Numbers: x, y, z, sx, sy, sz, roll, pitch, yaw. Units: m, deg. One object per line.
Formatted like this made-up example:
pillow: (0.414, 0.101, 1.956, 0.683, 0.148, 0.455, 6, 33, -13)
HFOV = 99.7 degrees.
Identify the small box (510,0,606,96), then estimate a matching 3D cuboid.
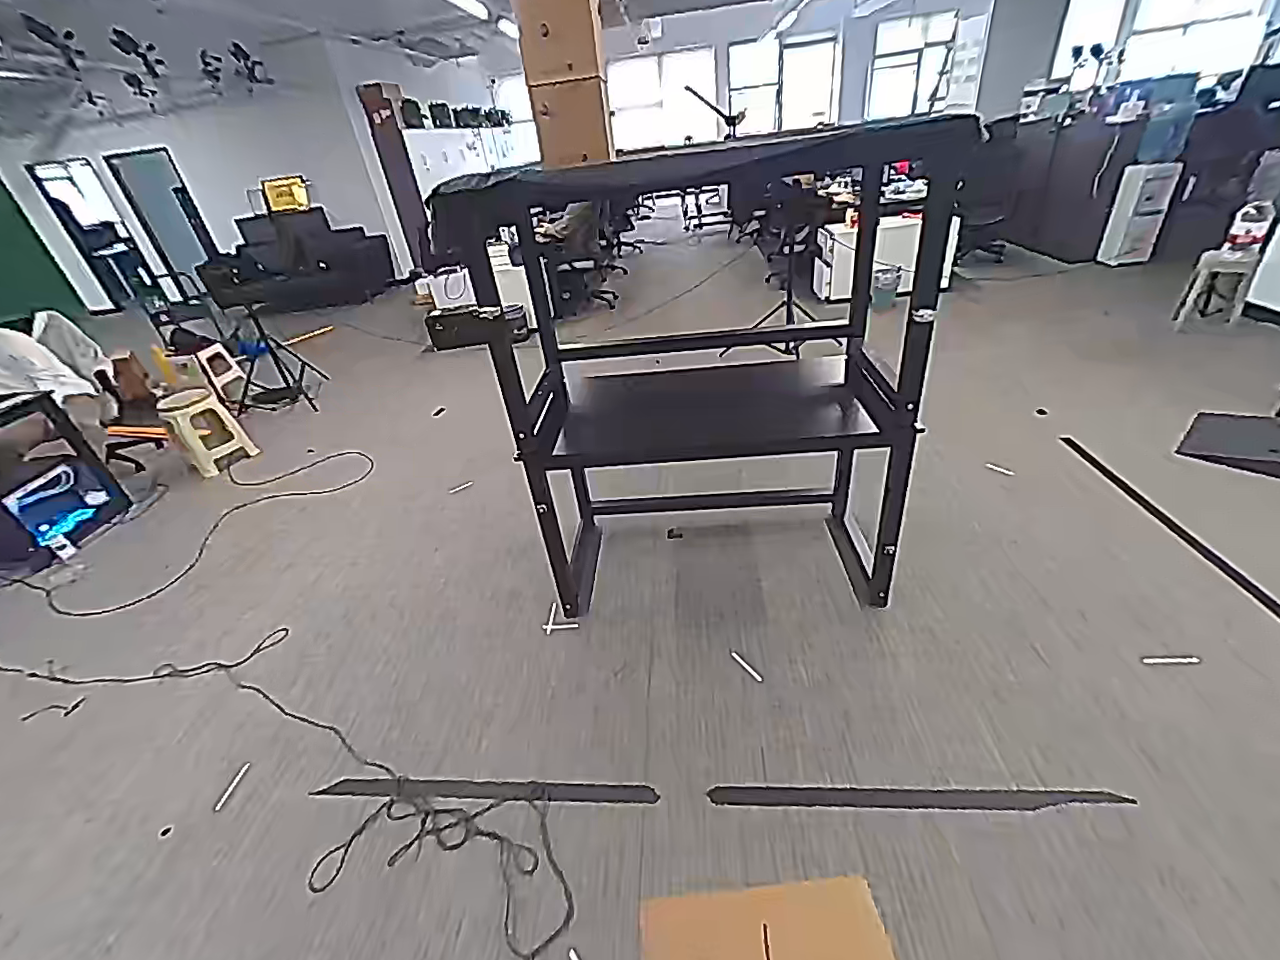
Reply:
small box: (-0.174, -0.980, 1.212, 0.168, 0.176, 0.179, -4, 31, 6)

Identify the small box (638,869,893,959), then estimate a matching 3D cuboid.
small box: (0.090, 0.403, 0.366, 0.168, 0.176, 0.179, -5, 35, -2)
